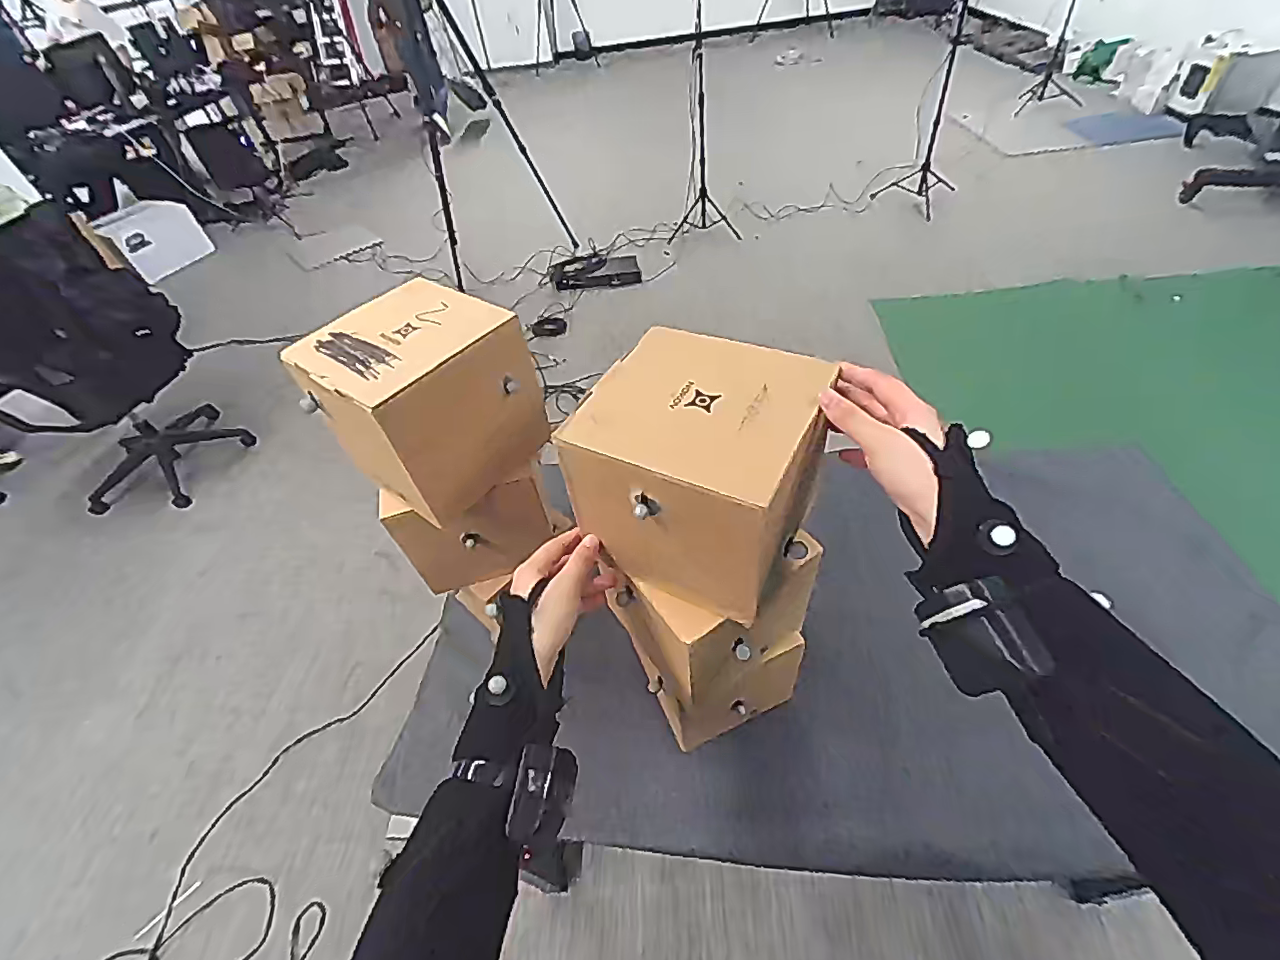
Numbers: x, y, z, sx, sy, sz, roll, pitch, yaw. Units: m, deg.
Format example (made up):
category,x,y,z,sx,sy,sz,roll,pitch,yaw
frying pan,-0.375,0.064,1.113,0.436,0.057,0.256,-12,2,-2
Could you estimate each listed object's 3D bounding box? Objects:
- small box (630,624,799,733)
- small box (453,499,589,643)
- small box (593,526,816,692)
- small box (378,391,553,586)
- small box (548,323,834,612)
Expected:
category,x,y,z,sx,sy,sz,roll,pitch,yaw
small box,0.087,0.209,0.717,0.168,0.176,0.179,-21,48,-12
small box,-0.203,0.120,0.844,0.179,0.176,0.168,31,59,30
small box,0.066,0.106,0.596,0.168,0.176,0.179,-31,50,-17
small box,-0.222,0.014,0.719,0.179,0.176,0.168,-17,49,-6
small box,0.050,-0.011,0.482,0.179,0.176,0.168,20,55,24
